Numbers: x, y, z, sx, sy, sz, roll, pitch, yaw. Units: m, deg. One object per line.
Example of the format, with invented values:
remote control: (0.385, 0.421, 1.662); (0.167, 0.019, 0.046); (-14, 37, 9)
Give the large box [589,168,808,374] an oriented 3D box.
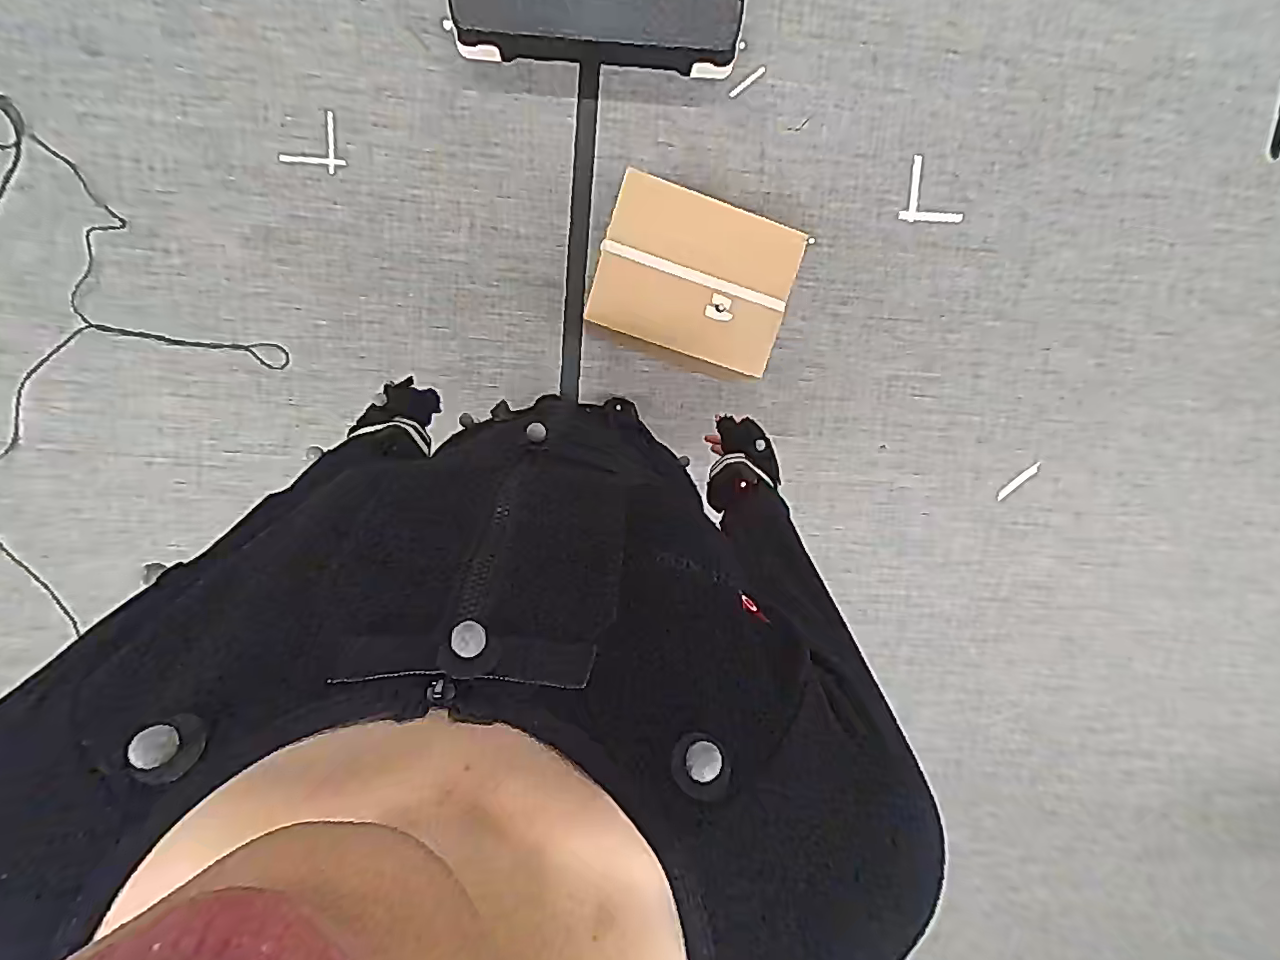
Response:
large box: (0.110, -0.458, 1.277); (0.408, 0.320, 0.320); (17, 99, -8)
